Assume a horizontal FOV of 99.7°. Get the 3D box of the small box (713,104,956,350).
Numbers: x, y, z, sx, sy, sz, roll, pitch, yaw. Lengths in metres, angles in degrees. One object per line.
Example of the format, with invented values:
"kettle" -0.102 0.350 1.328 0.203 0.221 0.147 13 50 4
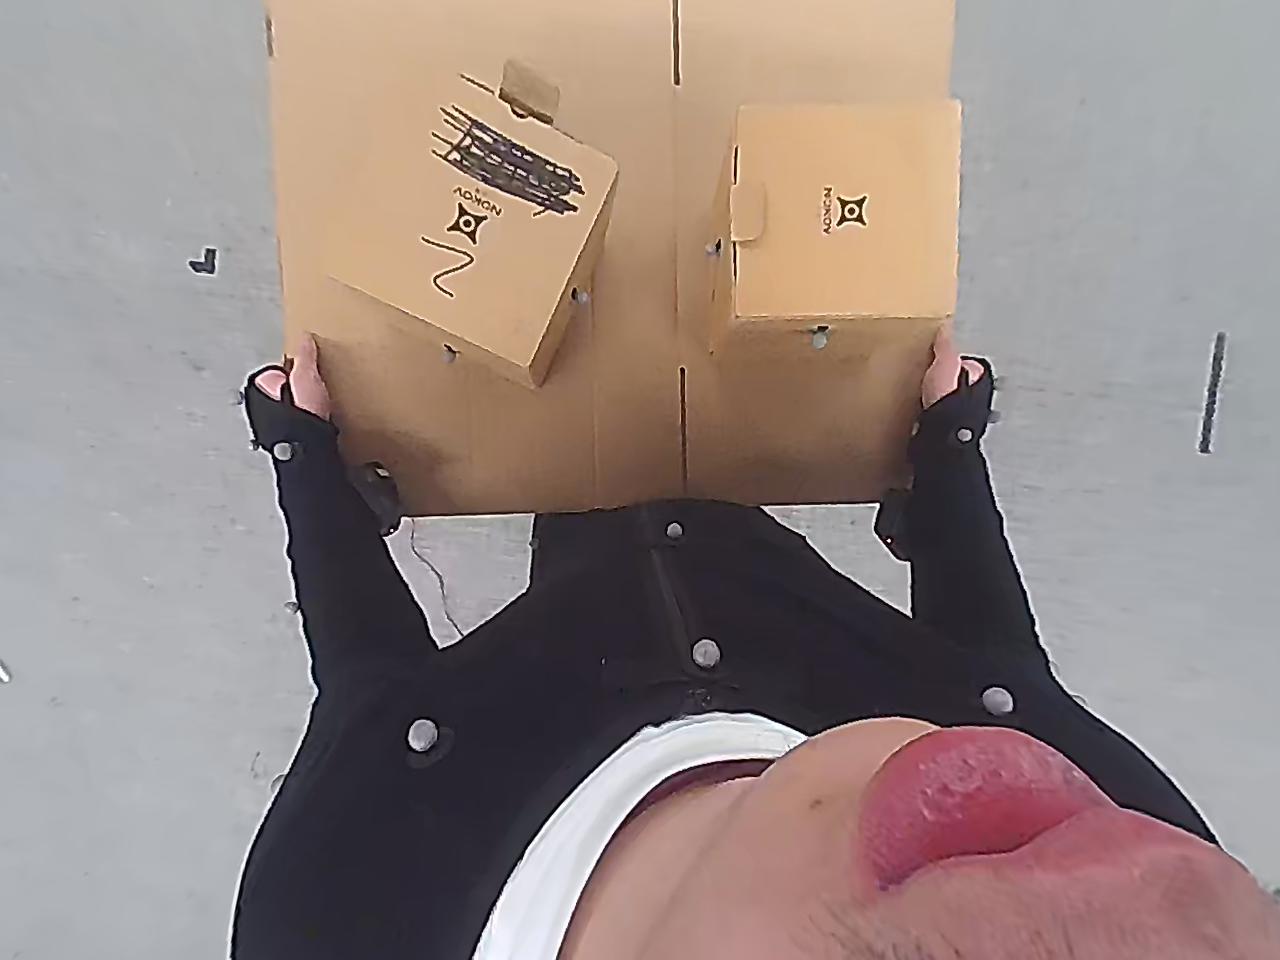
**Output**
"small box" 0.167 -0.223 0.517 0.179 0.176 0.168 0 93 2
